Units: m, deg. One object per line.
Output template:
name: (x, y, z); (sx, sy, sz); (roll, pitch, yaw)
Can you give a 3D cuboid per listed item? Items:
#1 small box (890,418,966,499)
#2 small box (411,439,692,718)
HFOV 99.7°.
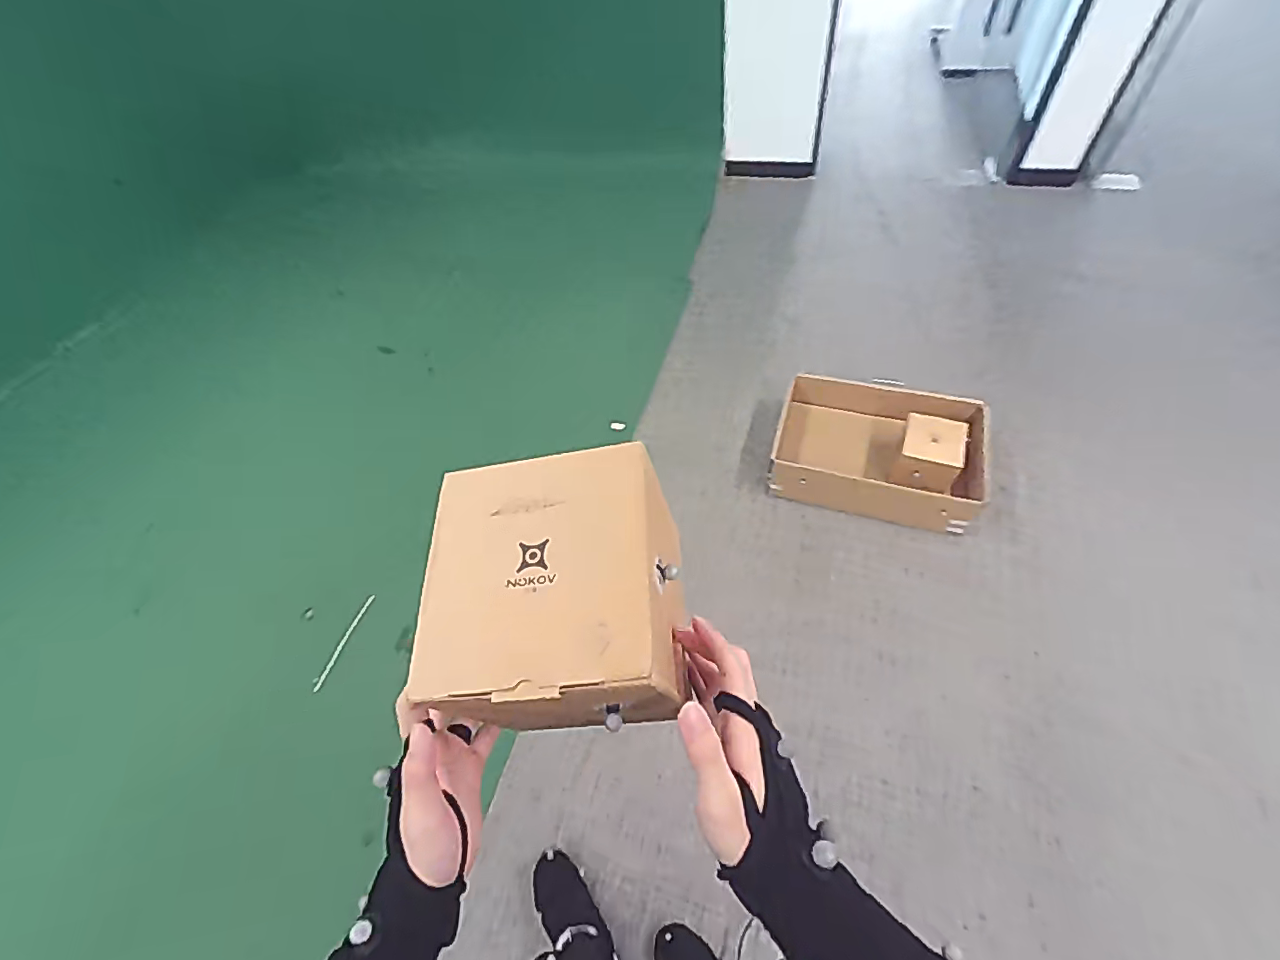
small box: (0.898, -0.064, 1.697); (0.168, 0.176, 0.179); (15, 59, 18)
small box: (-0.053, 0.093, 0.447); (0.168, 0.176, 0.179); (-8, 57, 11)
